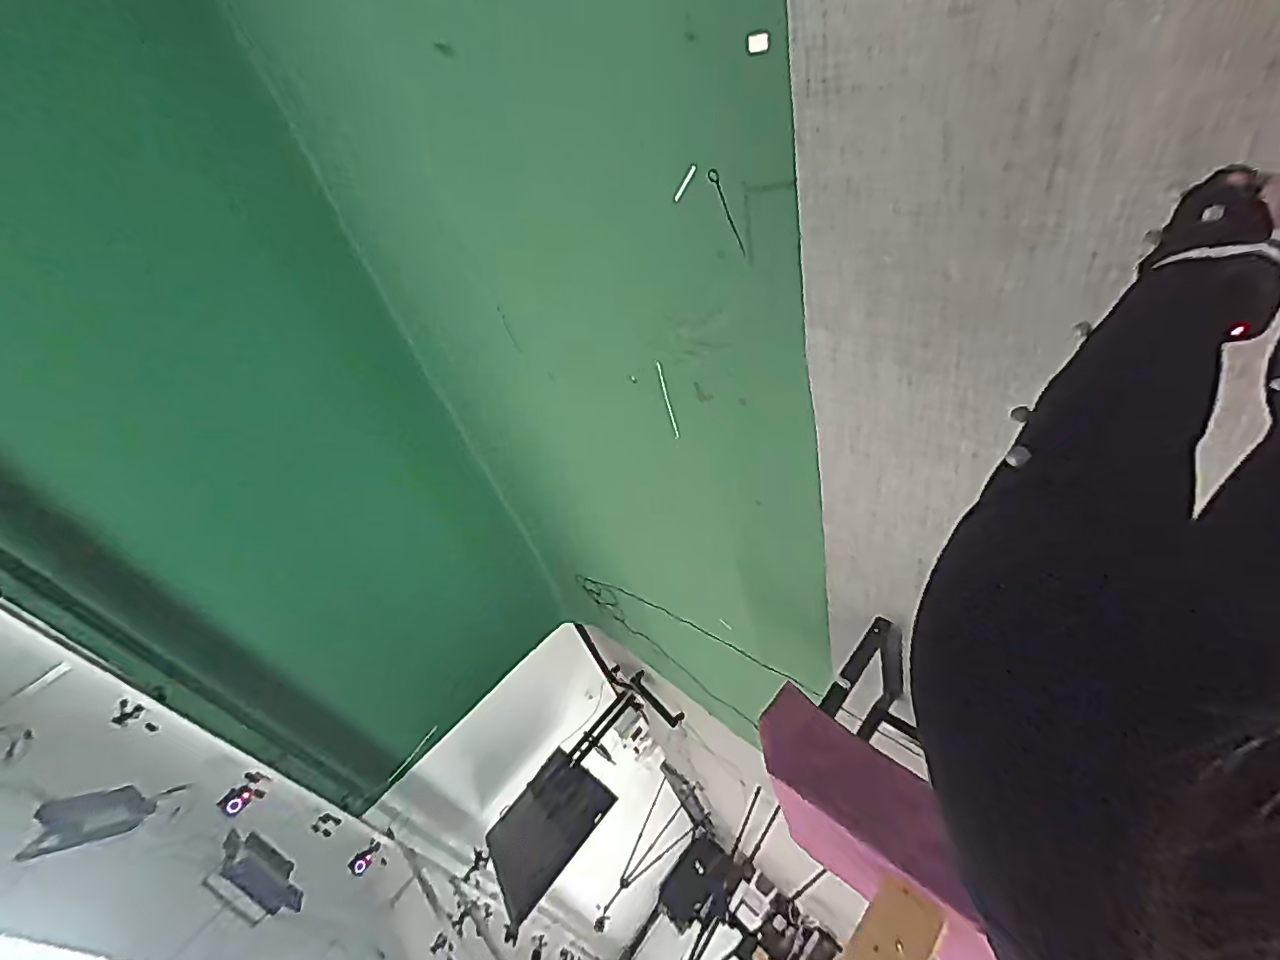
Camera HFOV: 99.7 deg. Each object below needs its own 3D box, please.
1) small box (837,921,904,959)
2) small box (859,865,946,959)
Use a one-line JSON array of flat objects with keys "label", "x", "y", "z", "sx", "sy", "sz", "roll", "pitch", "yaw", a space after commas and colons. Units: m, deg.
[{"label": "small box", "x": 0.620, "y": 1.322, "z": 1.430, "sx": 0.168, "sy": 0.176, "sz": 0.179, "roll": 21, "pitch": 144, "yaw": 44}, {"label": "small box", "x": 0.731, "y": 1.222, "z": 1.499, "sx": 0.168, "sy": 0.176, "sz": 0.179, "roll": 20, "pitch": 144, "yaw": 42}]
